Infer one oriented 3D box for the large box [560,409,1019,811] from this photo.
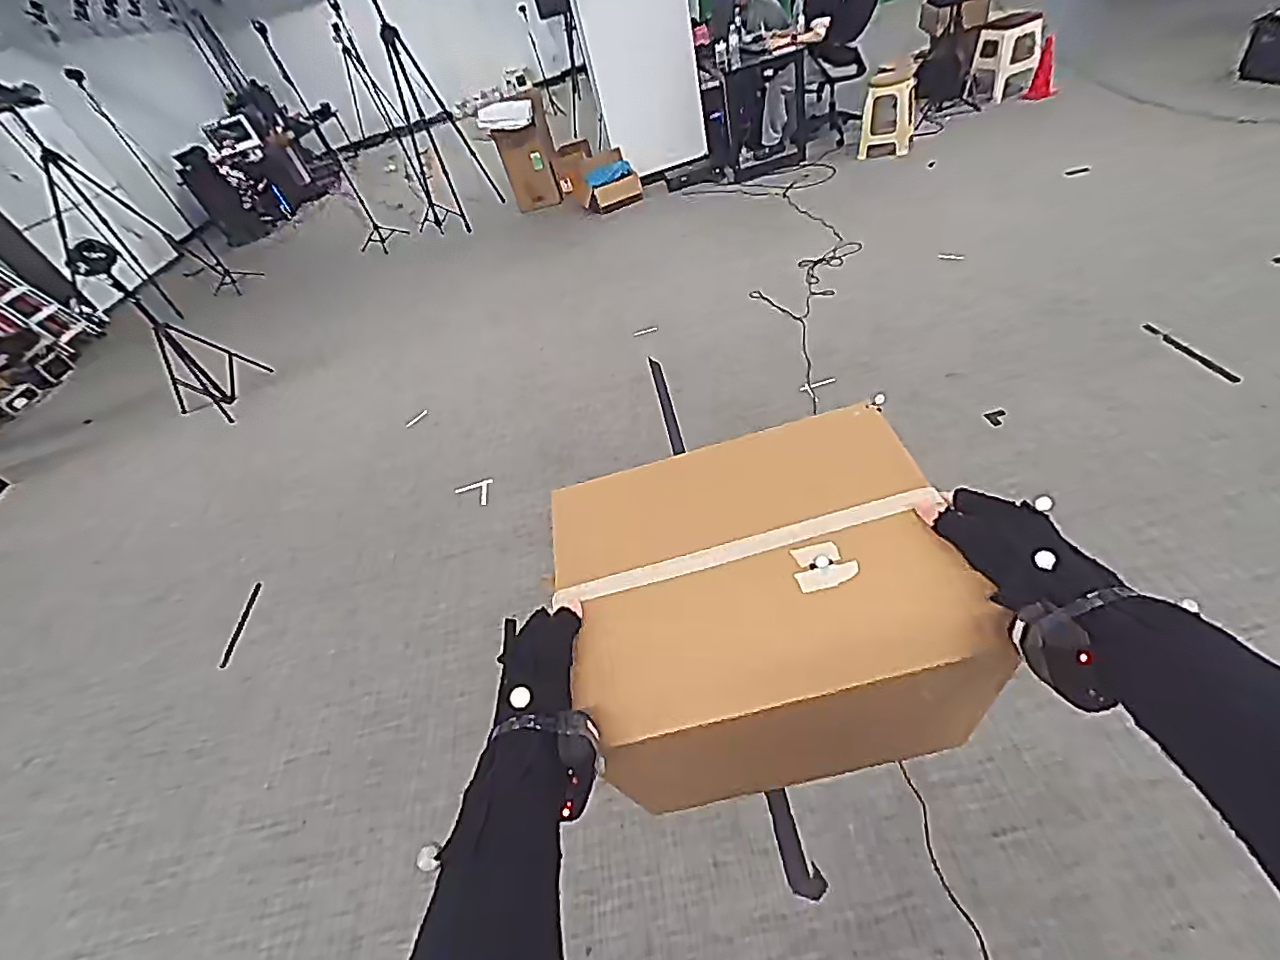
[{"bbox_3d":[0.145,0.171,0.680,0.408,0.320,0.320,-16,48,4],"label":"large box"}]
